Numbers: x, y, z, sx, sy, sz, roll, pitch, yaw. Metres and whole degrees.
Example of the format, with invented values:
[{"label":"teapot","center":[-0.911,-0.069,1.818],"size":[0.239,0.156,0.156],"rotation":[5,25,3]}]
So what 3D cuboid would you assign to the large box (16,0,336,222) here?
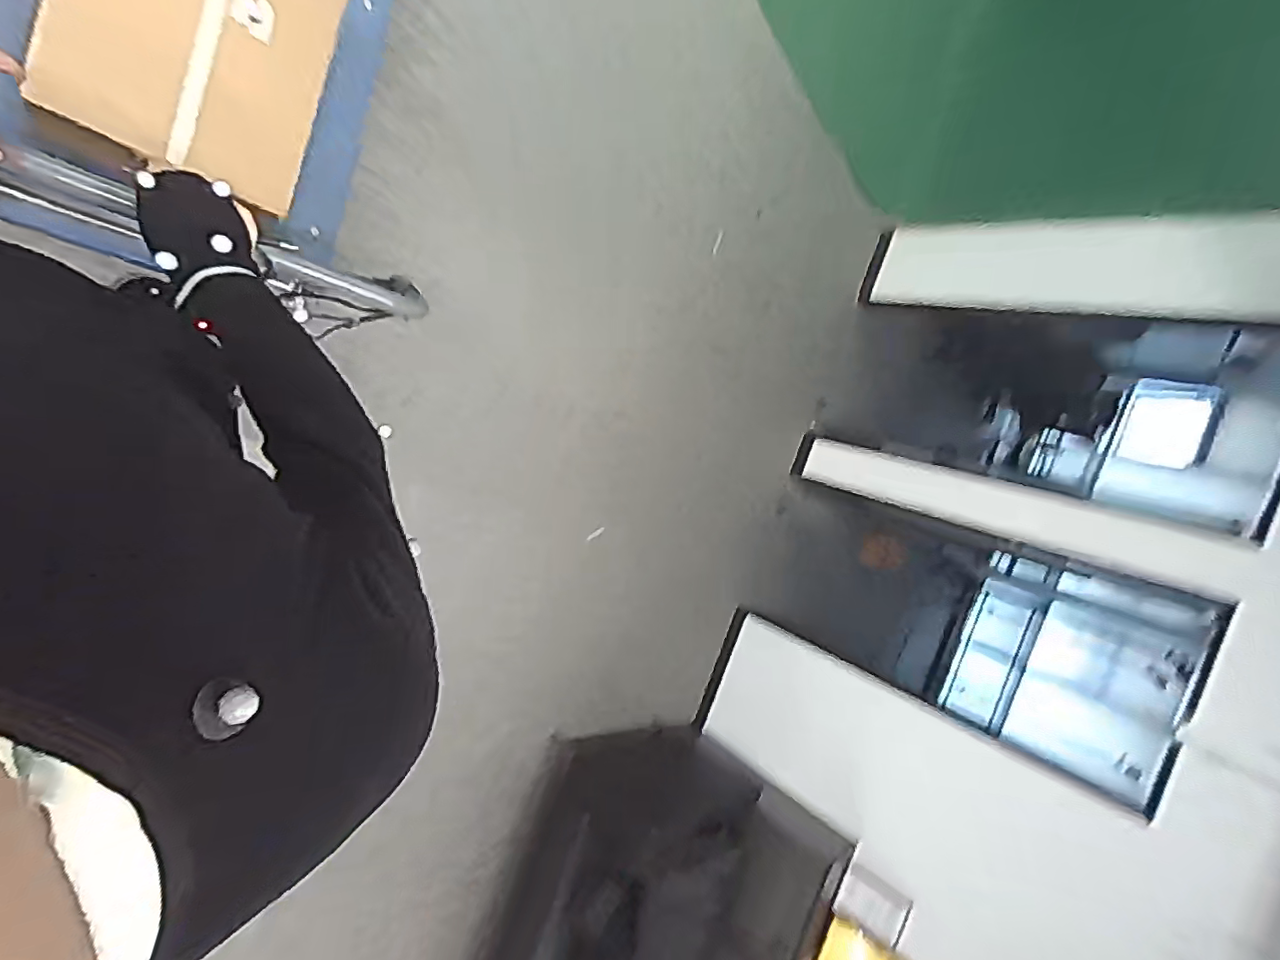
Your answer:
[{"label":"large box","center":[-0.762,-0.705,0.902],"size":[0.320,0.320,0.408],"rotation":[13,95,-49]}]
